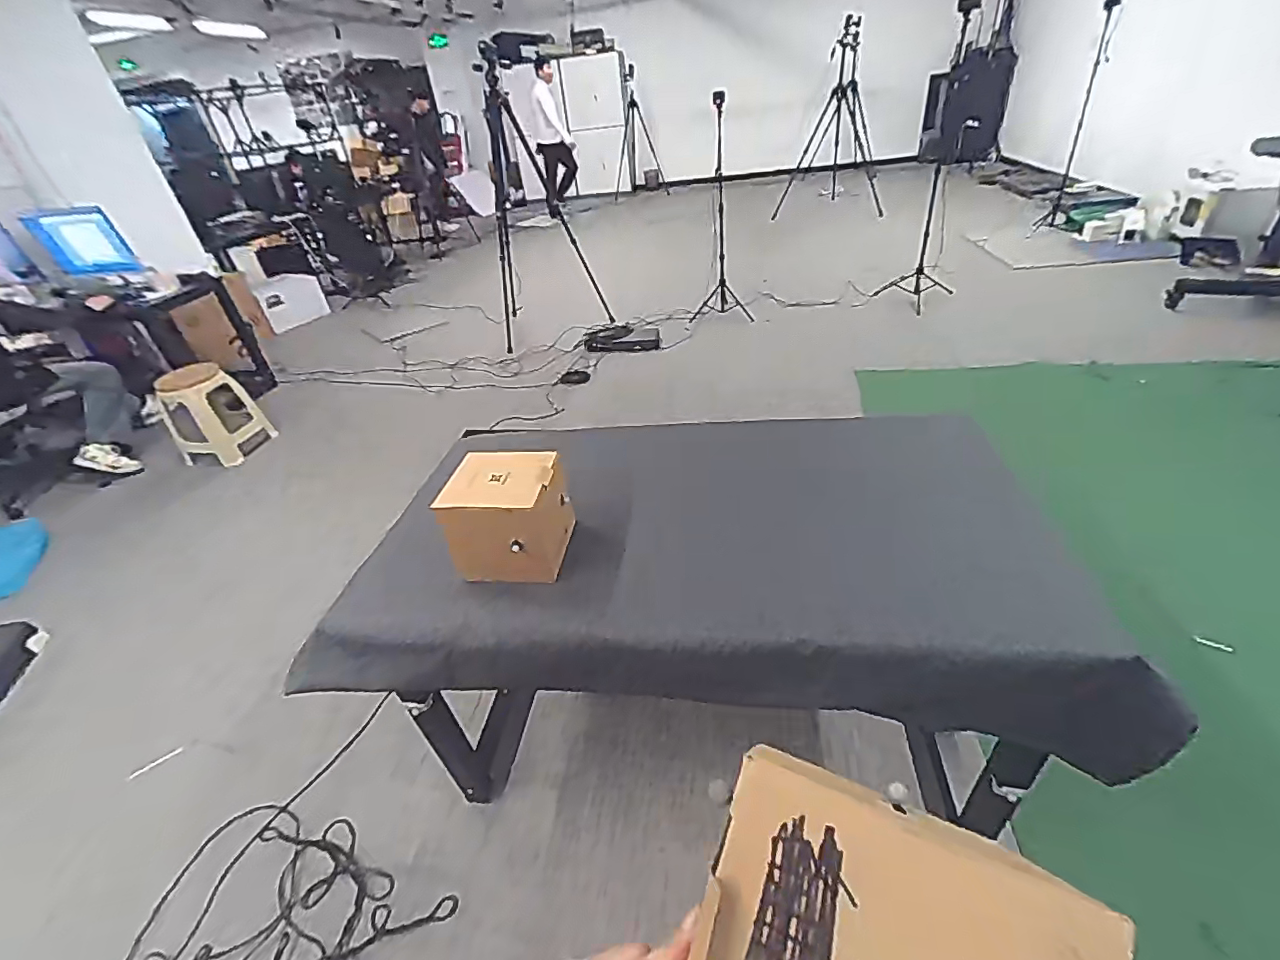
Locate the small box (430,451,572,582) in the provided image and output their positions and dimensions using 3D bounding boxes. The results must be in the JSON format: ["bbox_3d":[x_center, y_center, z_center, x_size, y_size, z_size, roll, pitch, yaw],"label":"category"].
[{"bbox_3d":[-0.229,0.065,0.948,0.179,0.176,0.168,-1,35,9],"label":"small box"}]
